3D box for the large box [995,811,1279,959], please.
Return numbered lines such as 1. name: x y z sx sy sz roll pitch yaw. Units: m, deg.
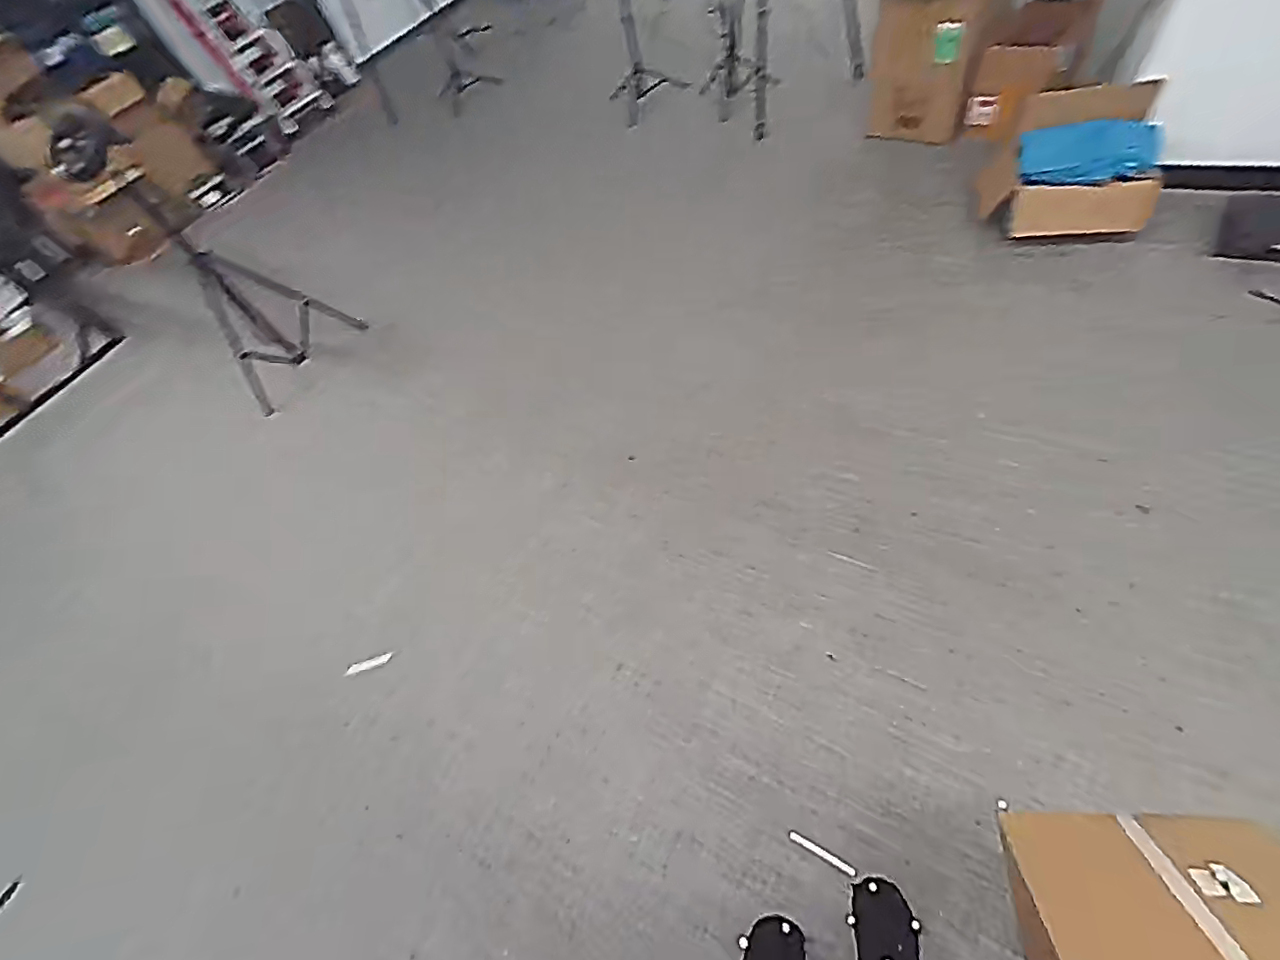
1. large box: 0.651 0.639 0.591 0.320 0.408 0.320 -10 87 19
